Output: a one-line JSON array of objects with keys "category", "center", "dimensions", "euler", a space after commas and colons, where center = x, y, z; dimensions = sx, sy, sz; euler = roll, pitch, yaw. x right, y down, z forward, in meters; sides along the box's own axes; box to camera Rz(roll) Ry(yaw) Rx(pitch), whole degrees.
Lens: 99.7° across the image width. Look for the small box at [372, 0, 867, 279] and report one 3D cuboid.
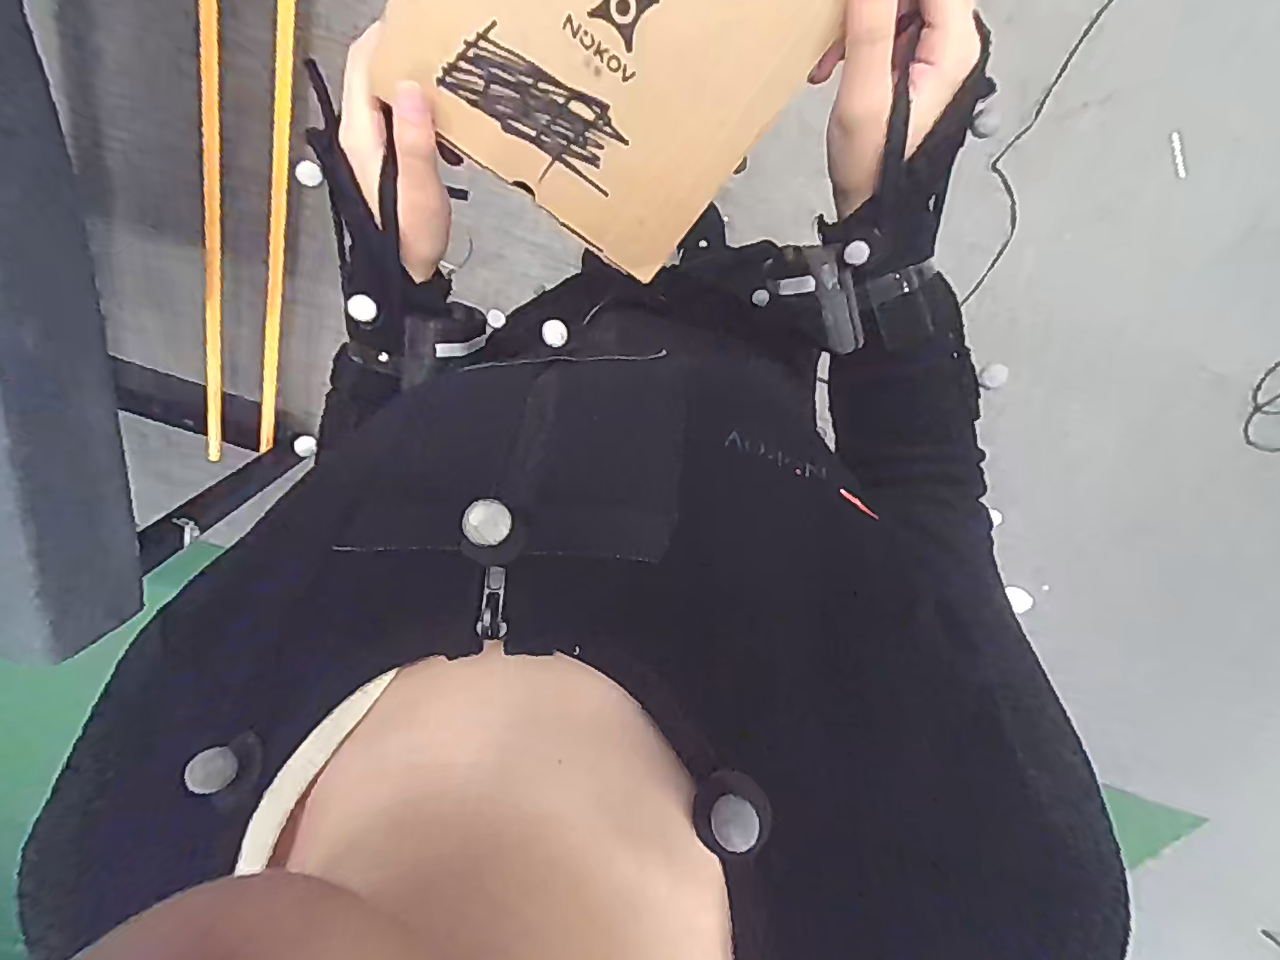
[{"category": "small box", "center": [-0.008, -0.255, 0.291], "dimensions": [0.168, 0.176, 0.179], "euler": [29, 130, -23]}]
